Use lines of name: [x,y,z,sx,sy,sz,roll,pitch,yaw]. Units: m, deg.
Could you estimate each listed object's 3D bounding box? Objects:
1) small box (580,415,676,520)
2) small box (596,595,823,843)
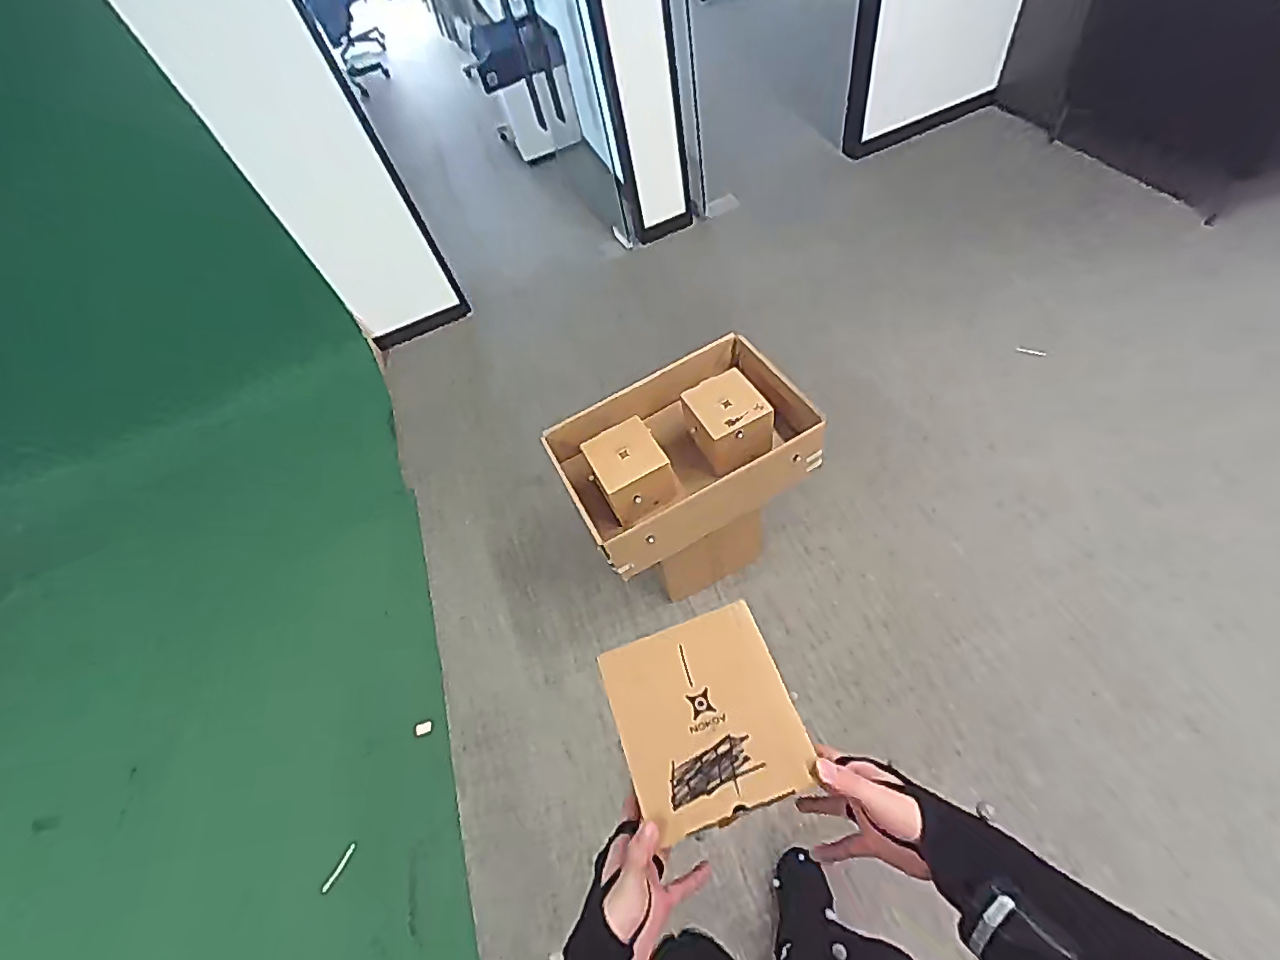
small box: [-0.024,-0.023,1.346,0.168,0.176,0.179,-28,55,-6]
small box: [0.070,0.249,0.570,0.168,0.176,0.179,-20,59,-2]
